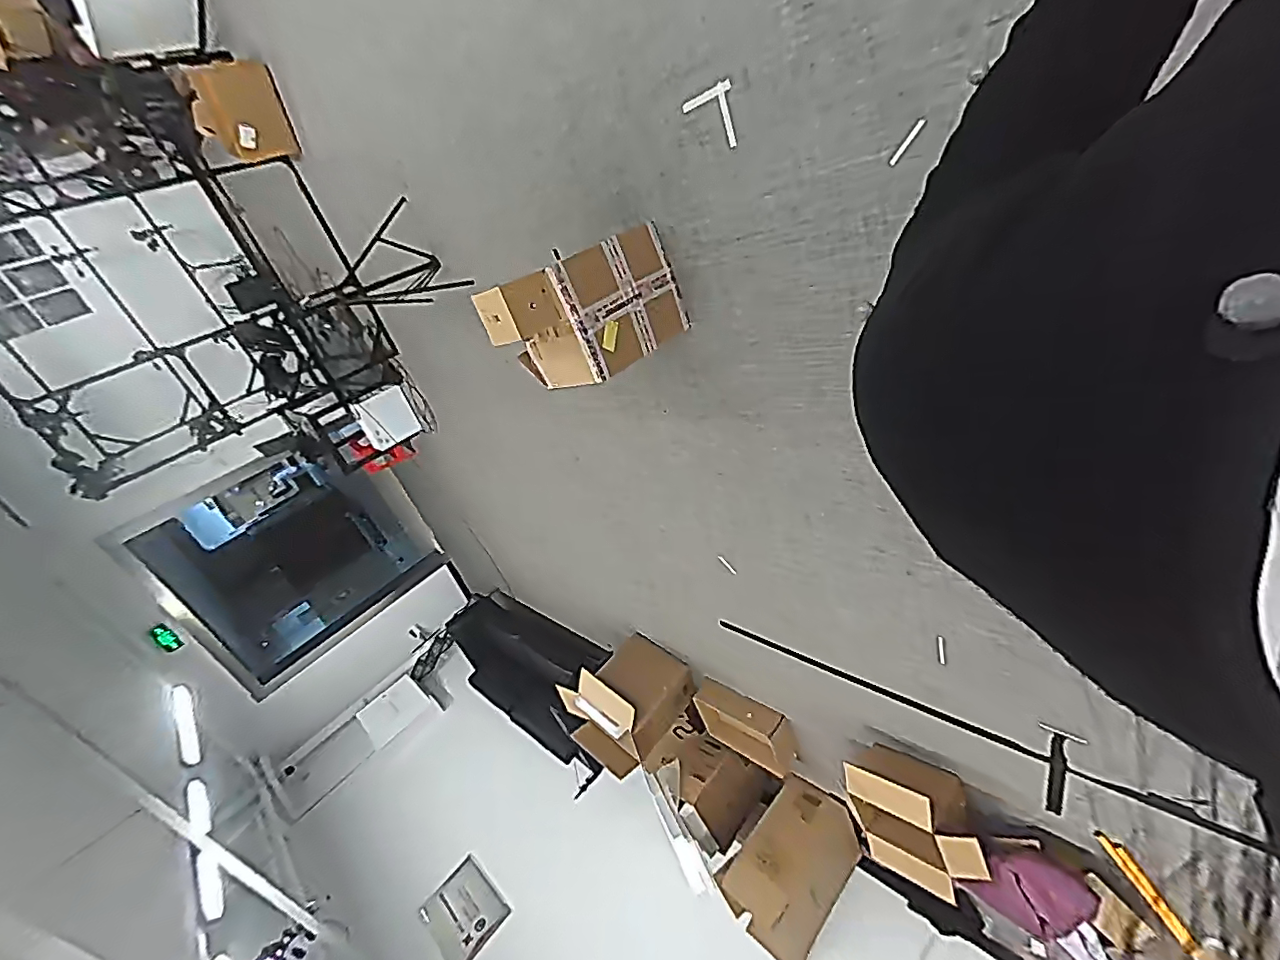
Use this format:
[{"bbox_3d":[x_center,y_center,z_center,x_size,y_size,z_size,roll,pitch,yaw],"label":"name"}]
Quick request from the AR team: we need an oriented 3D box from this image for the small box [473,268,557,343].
[{"bbox_3d":[-0.385,-0.550,1.701,0.179,0.176,0.168,6,125,47],"label":"small box"}]
